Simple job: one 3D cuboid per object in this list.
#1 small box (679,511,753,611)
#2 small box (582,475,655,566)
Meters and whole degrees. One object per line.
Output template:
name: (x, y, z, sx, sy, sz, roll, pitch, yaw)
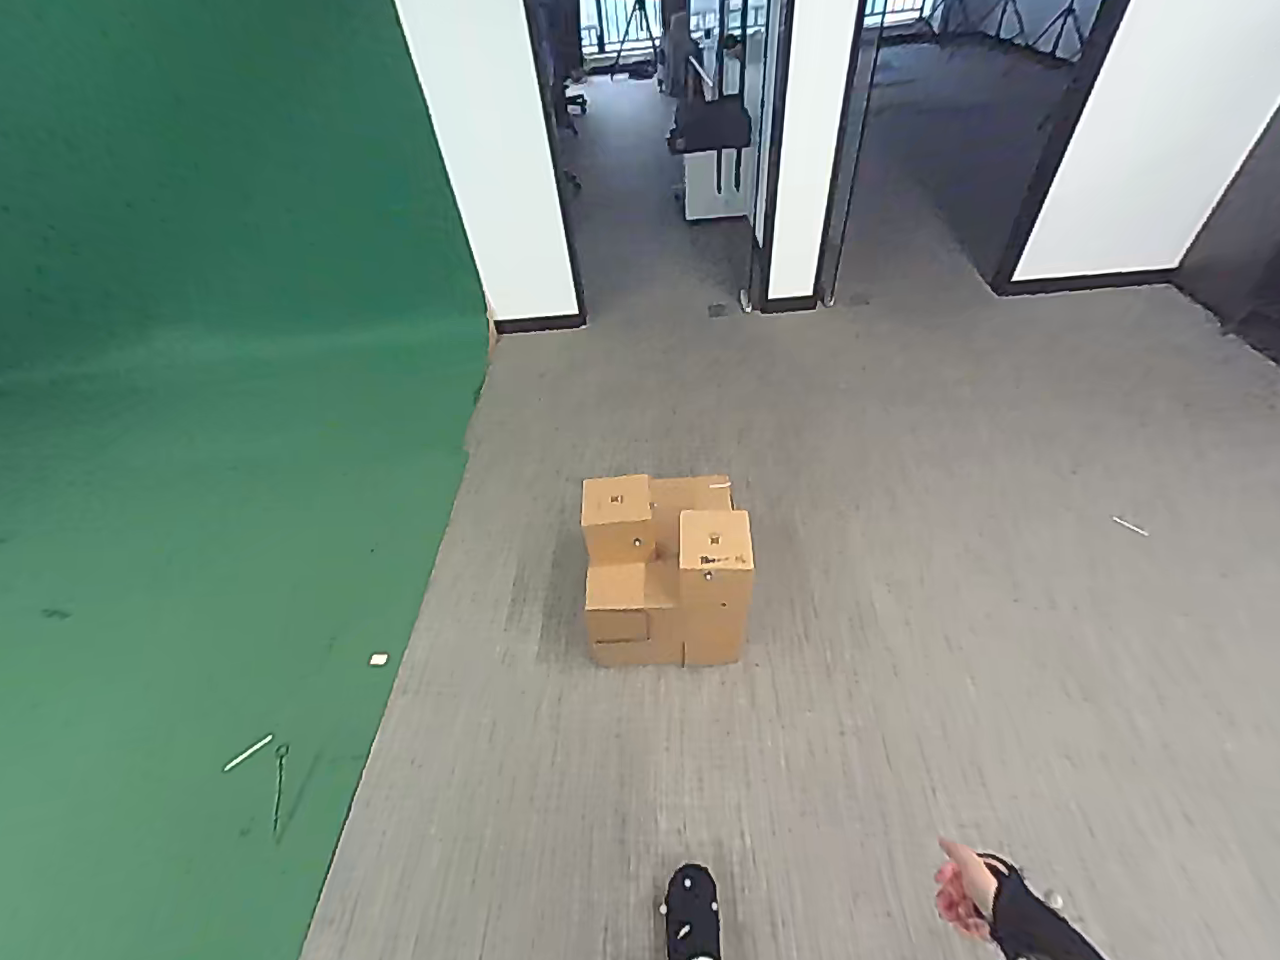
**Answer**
small box: (0.180, 0.195, 1.310, 0.168, 0.176, 0.179, 0, 44, 6)
small box: (-0.051, 0.109, 1.428, 0.179, 0.176, 0.168, -6, 43, 3)
